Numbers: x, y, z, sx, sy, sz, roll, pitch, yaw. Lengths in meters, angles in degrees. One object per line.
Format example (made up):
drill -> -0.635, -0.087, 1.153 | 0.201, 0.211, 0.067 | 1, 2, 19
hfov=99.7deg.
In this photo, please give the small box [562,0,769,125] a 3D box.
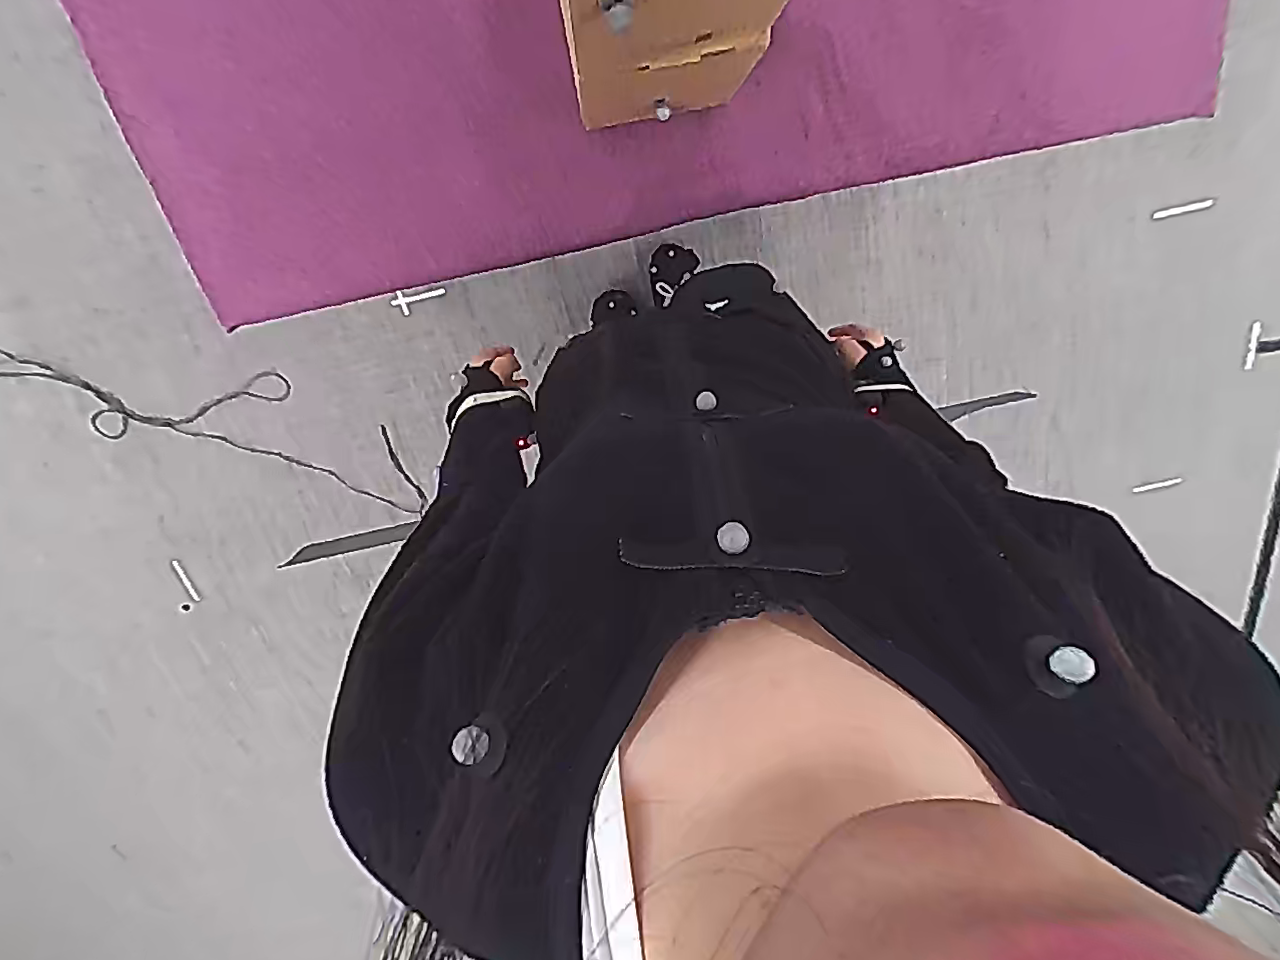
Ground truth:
small box -> 0.010, -0.462, 0.500 | 0.168, 0.176, 0.179 | -11, 111, 0
